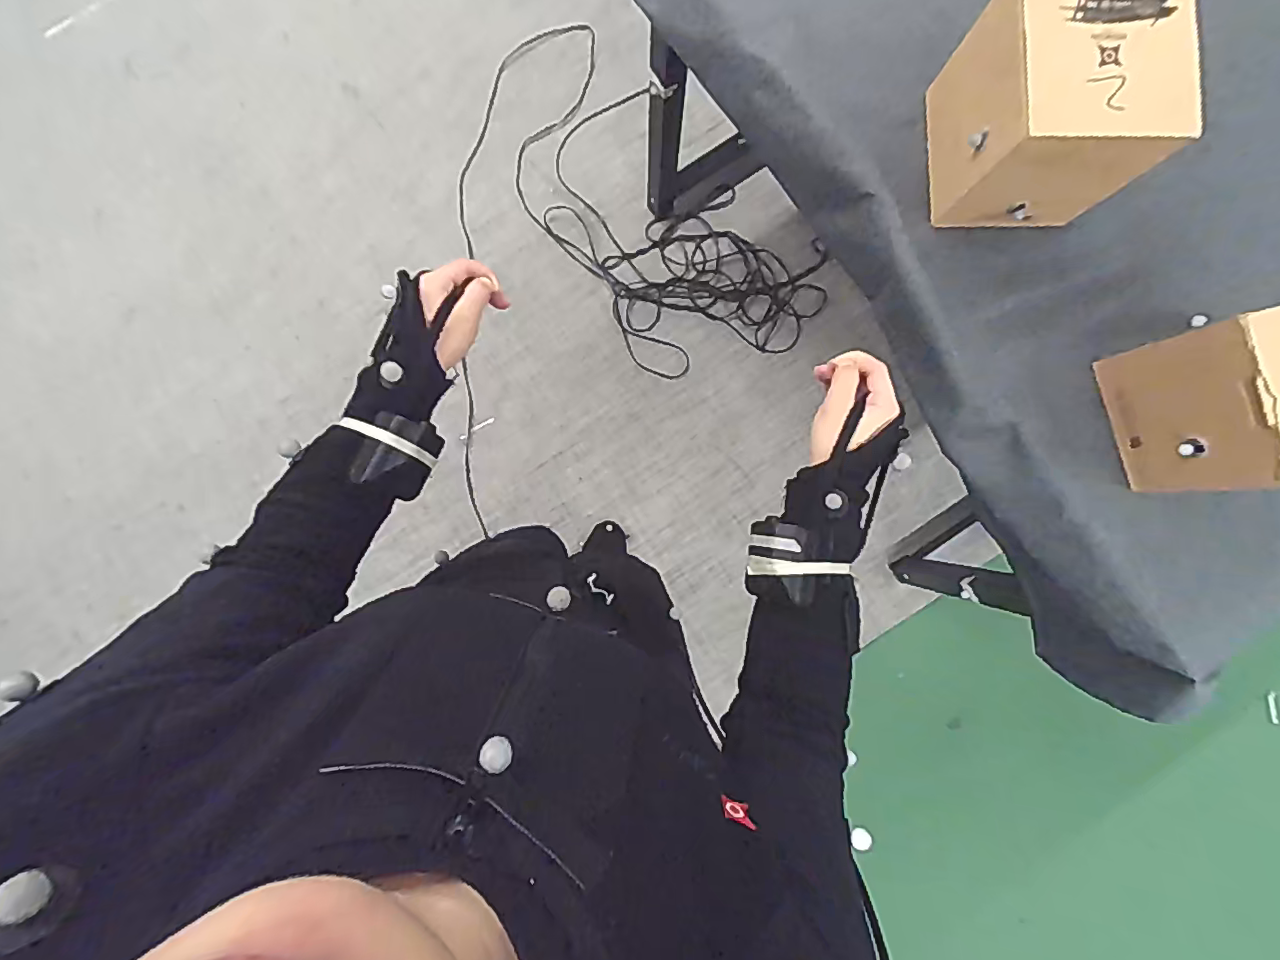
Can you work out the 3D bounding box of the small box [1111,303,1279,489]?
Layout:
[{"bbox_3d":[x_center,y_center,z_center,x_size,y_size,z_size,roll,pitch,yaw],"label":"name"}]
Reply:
[{"bbox_3d":[0.652,-0.089,0.568,0.179,0.176,0.168,-15,87,-2],"label":"small box"}]
